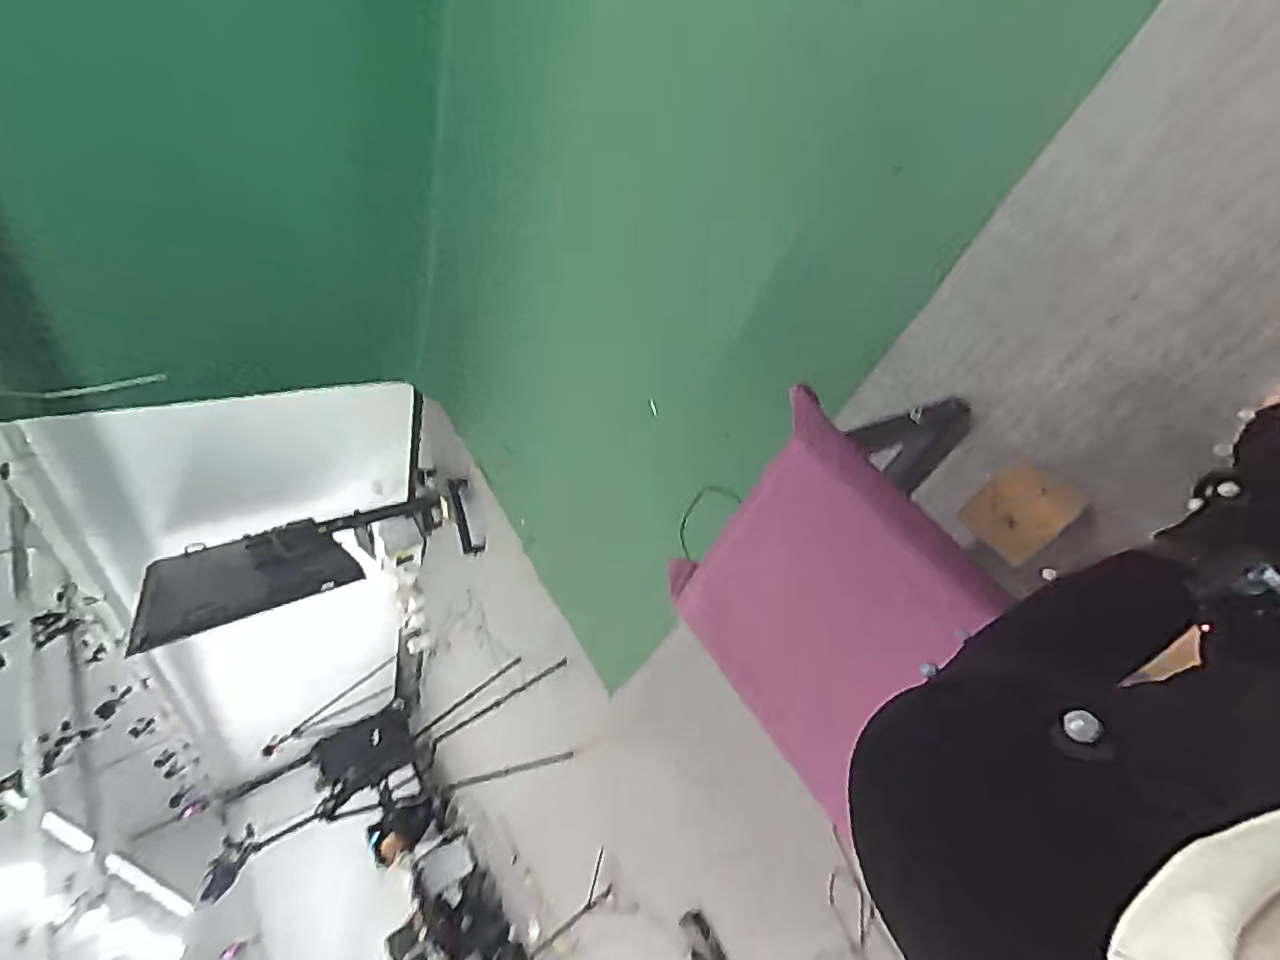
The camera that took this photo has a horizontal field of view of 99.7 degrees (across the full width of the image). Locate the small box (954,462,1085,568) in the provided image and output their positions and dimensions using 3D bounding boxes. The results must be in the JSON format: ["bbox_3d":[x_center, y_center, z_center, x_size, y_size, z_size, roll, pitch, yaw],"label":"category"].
[{"bbox_3d":[0.917,0.078,1.305,0.179,0.176,0.168,50,136,29],"label":"small box"}]
